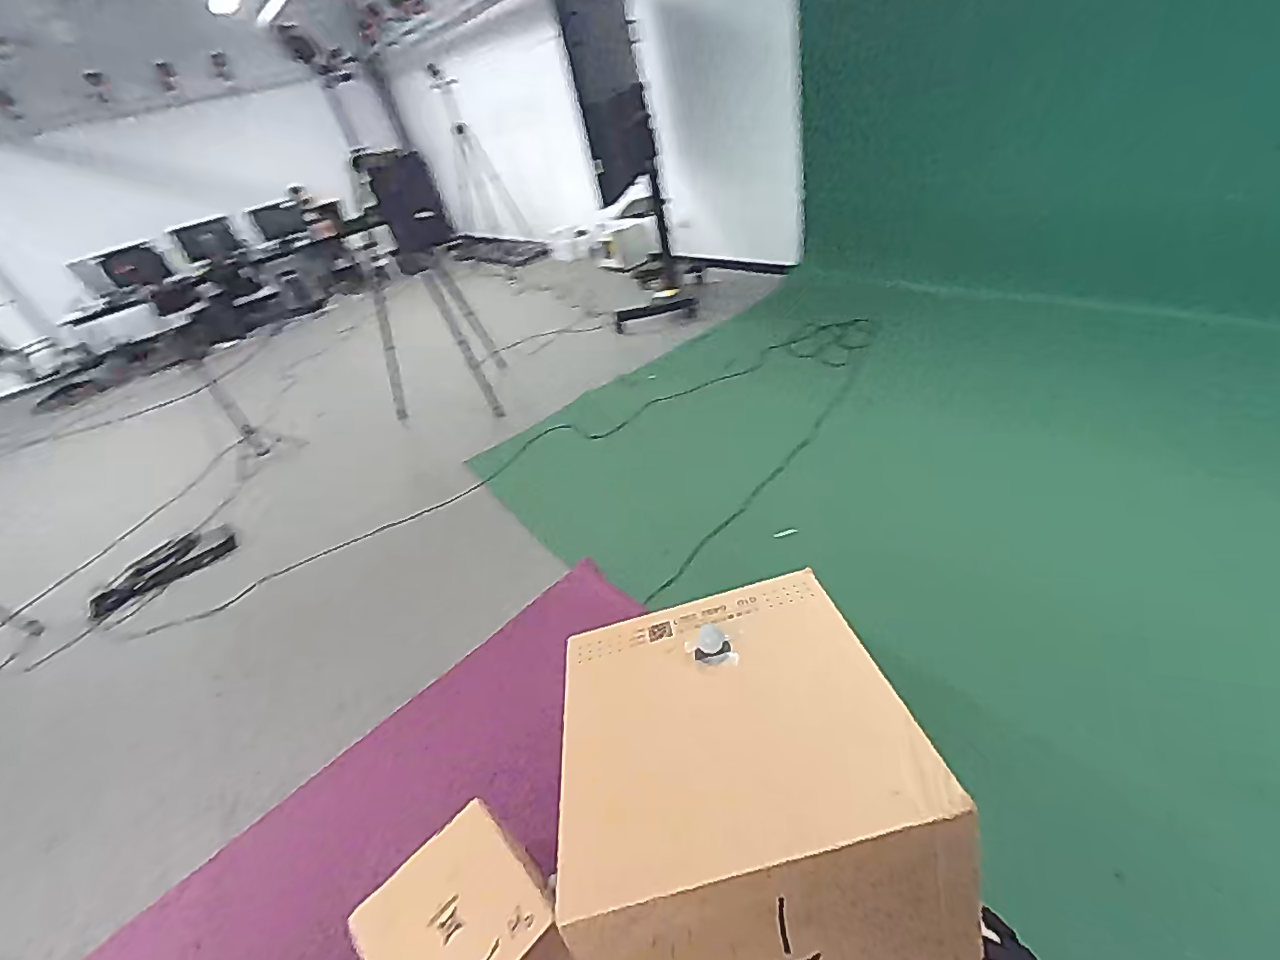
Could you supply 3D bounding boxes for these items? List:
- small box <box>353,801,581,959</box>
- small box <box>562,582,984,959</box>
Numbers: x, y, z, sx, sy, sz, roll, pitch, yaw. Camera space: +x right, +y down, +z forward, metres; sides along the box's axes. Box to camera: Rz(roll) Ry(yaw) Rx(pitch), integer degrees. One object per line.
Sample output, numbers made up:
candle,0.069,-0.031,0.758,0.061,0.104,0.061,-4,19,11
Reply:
small box,-0.183,0.524,0.615,0.168,0.176,0.179,-38,41,-26
small box,0.064,0.189,0.311,0.168,0.179,0.176,-16,23,2
